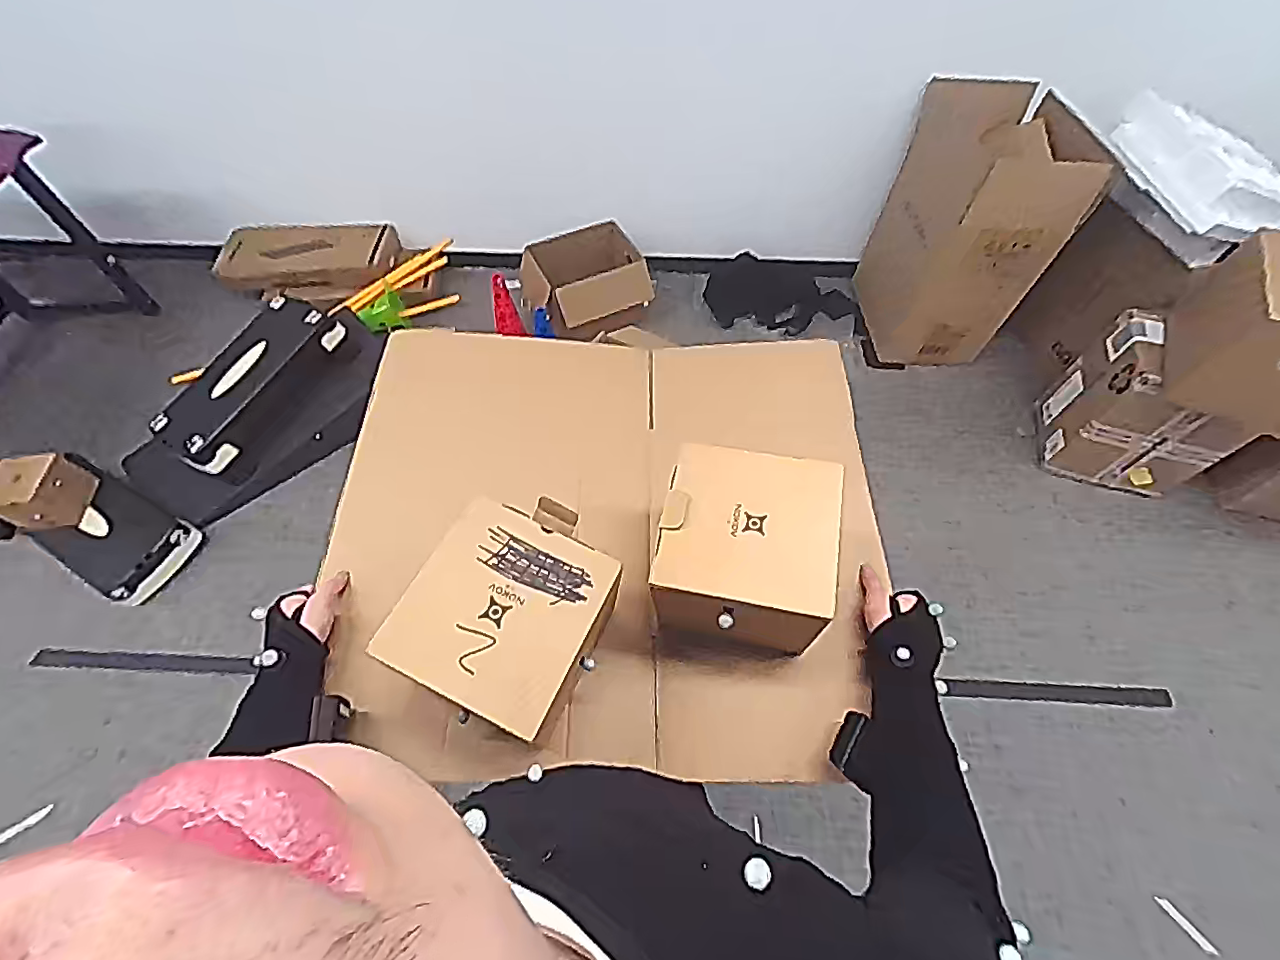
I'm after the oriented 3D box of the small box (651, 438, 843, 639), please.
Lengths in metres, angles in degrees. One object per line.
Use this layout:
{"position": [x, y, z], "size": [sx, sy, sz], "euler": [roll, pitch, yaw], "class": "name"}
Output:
{"position": [0.120, 0.075, 0.623], "size": [0.179, 0.176, 0.168], "euler": [9, 63, 11], "class": "small box"}
